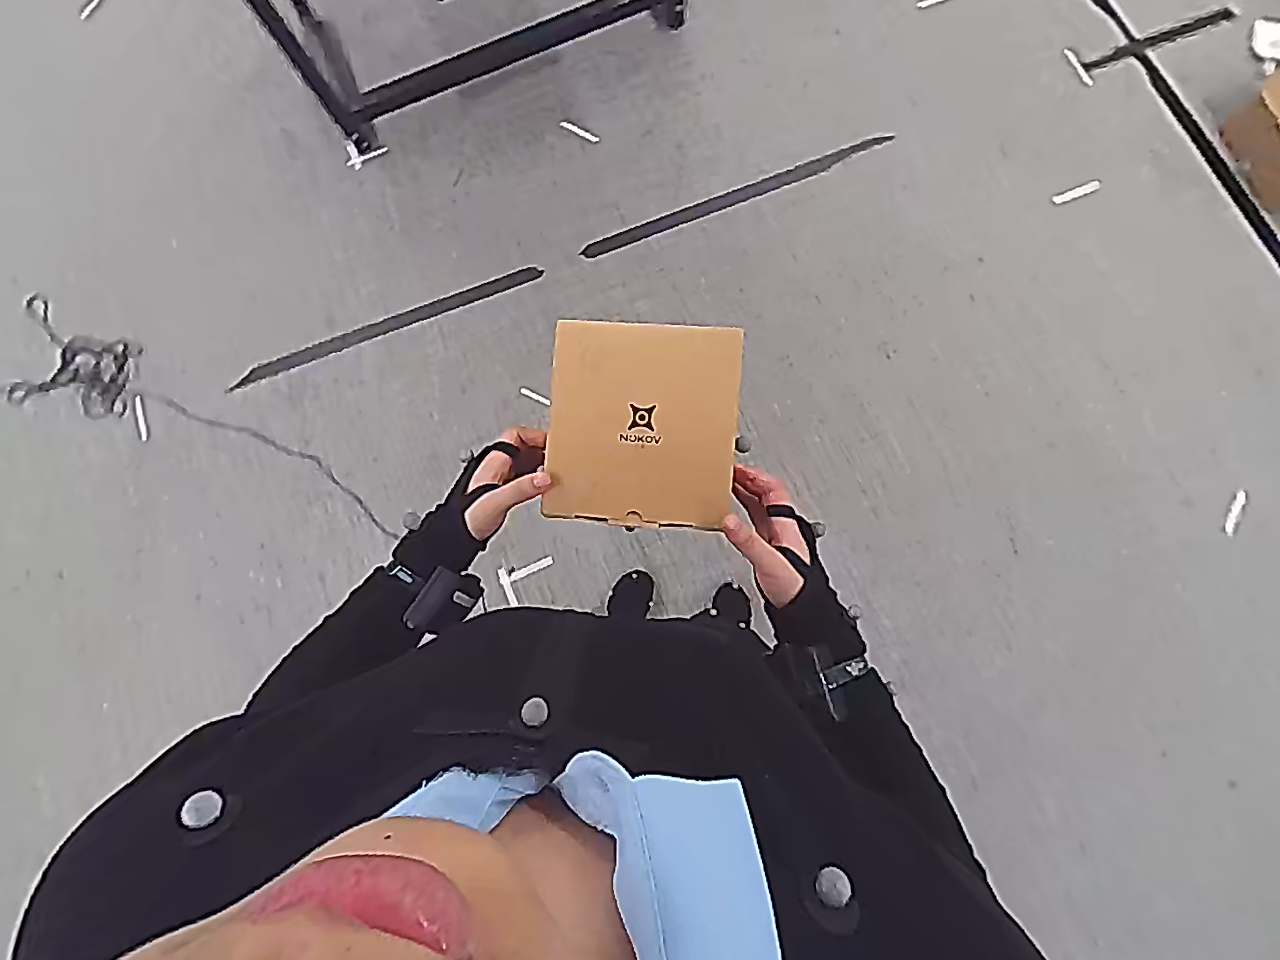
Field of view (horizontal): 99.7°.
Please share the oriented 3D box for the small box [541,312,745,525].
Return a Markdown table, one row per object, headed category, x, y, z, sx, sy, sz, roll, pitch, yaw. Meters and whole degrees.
| category | x | y | z | sx | sy | sz | roll | pitch | yaw |
| --- | --- | --- | --- | --- | --- | --- | --- | --- | --- |
| small box | 0.007 | -0.050 | 0.540 | 0.168 | 0.176 | 0.179 | 4 | 88 | 4 |
